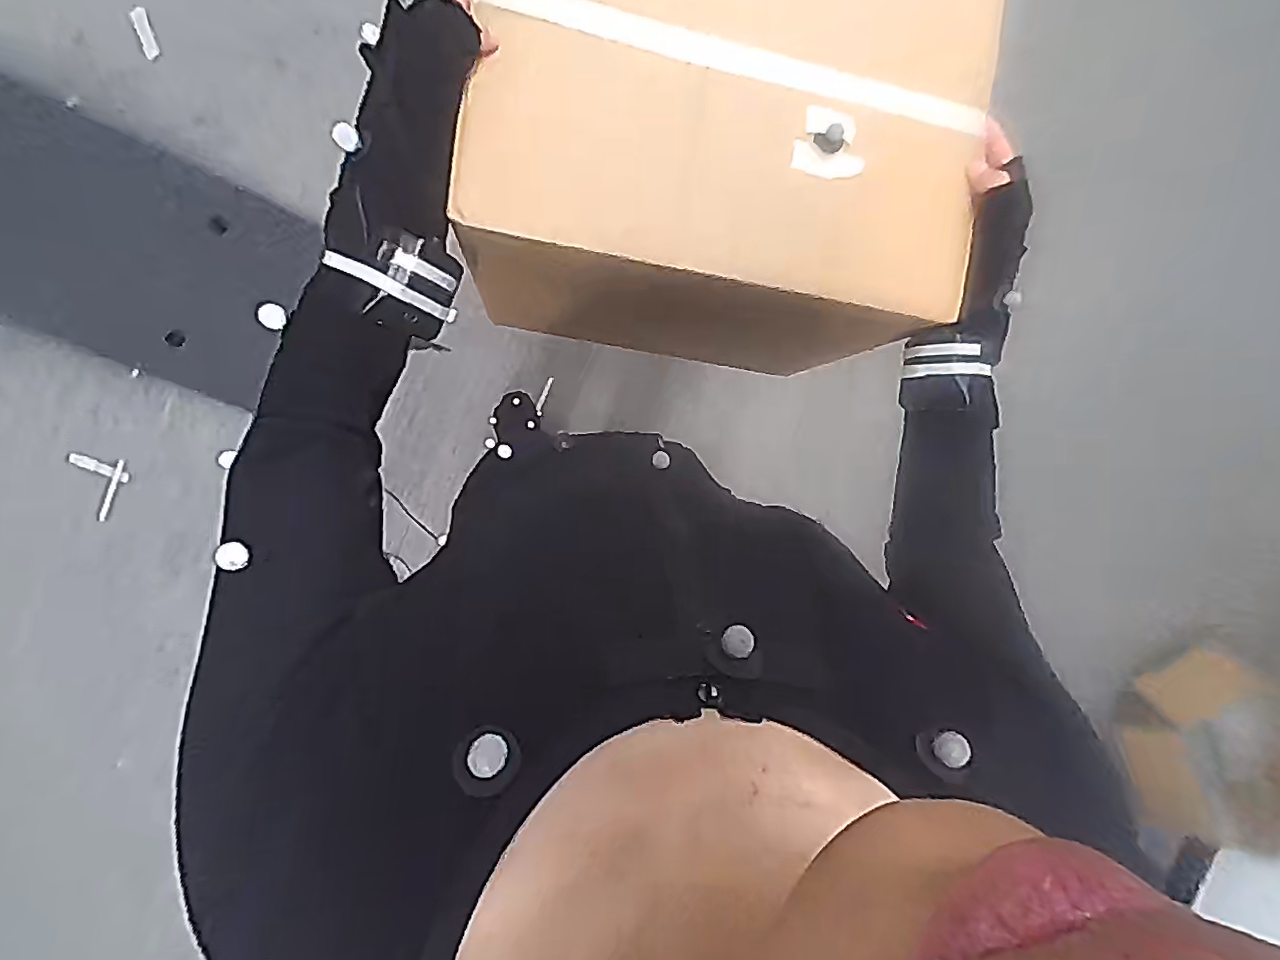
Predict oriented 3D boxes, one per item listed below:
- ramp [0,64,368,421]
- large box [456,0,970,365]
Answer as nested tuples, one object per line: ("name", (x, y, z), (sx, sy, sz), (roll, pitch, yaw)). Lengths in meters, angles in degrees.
("ramp", (-1.206, -0.550, 1.211), (0.991, 0.206, 0.509), (22, 92, -9))
("large box", (0.045, -0.322, 0.568), (0.408, 0.320, 0.320), (6, 92, -11))
